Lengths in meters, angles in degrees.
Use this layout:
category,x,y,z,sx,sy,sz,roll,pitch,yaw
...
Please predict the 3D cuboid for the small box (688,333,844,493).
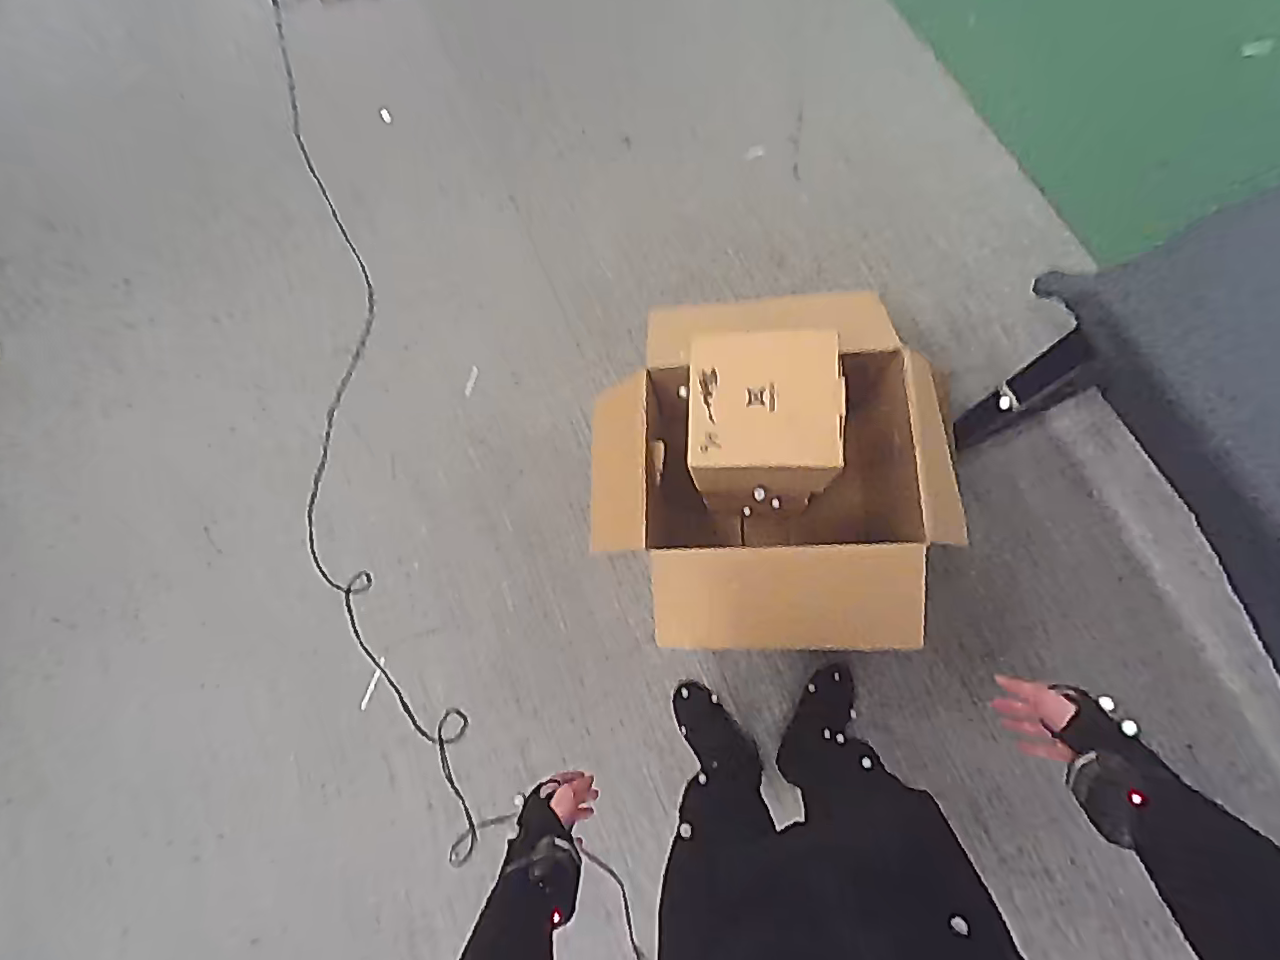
category,x,y,z,sx,sy,sz,roll,pitch,yaw
small box,0.158,-0.079,0.706,0.179,0.176,0.168,1,79,10
